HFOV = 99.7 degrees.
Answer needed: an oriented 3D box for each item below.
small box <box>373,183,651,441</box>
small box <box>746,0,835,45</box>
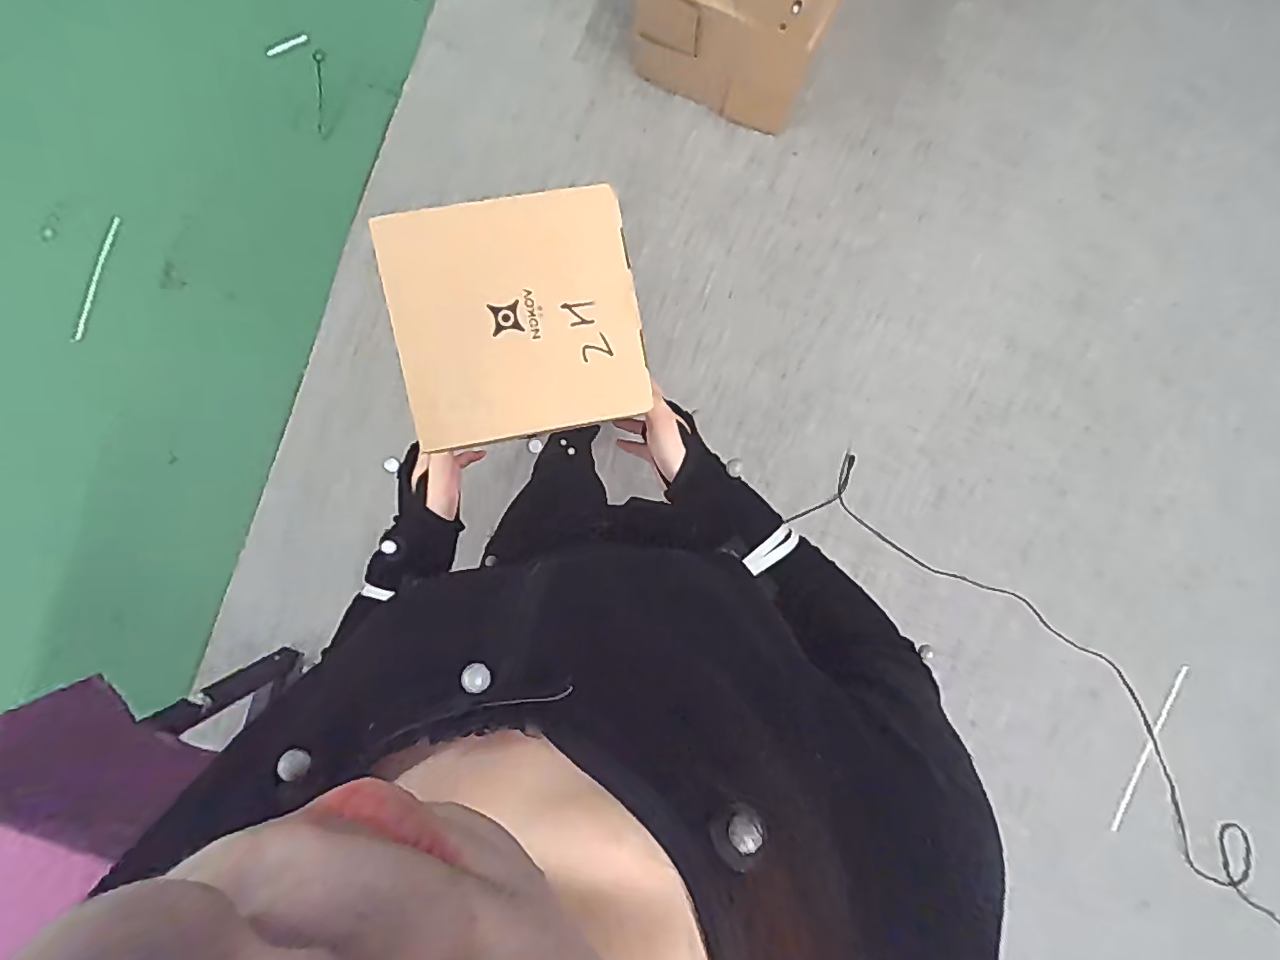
[{"bbox_3d":[-0.096,-0.125,0.466,0.179,0.176,0.168,-10,96,-6],"label":"small box"},{"bbox_3d":[0.314,-0.992,1.026,0.168,0.176,0.179,29,92,0],"label":"small box"}]
